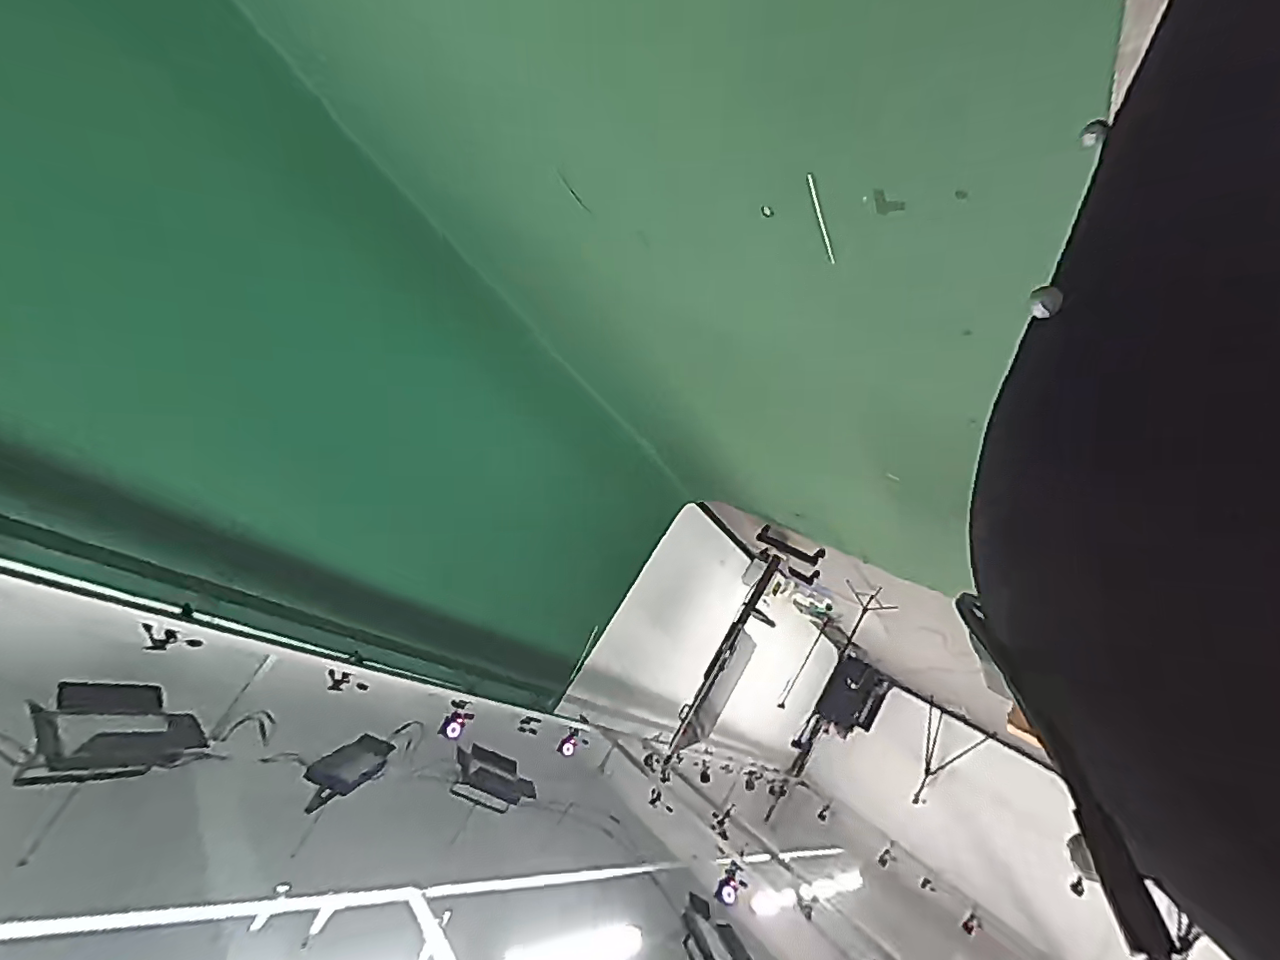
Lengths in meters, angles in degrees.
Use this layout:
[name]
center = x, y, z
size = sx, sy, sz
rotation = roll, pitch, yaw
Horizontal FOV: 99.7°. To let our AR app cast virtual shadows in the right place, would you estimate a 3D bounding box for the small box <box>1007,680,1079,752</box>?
[small box]
center = 1.446, 0.843, 1.939
size = 0.168, 0.176, 0.179
rotation = 23, 168, 45
